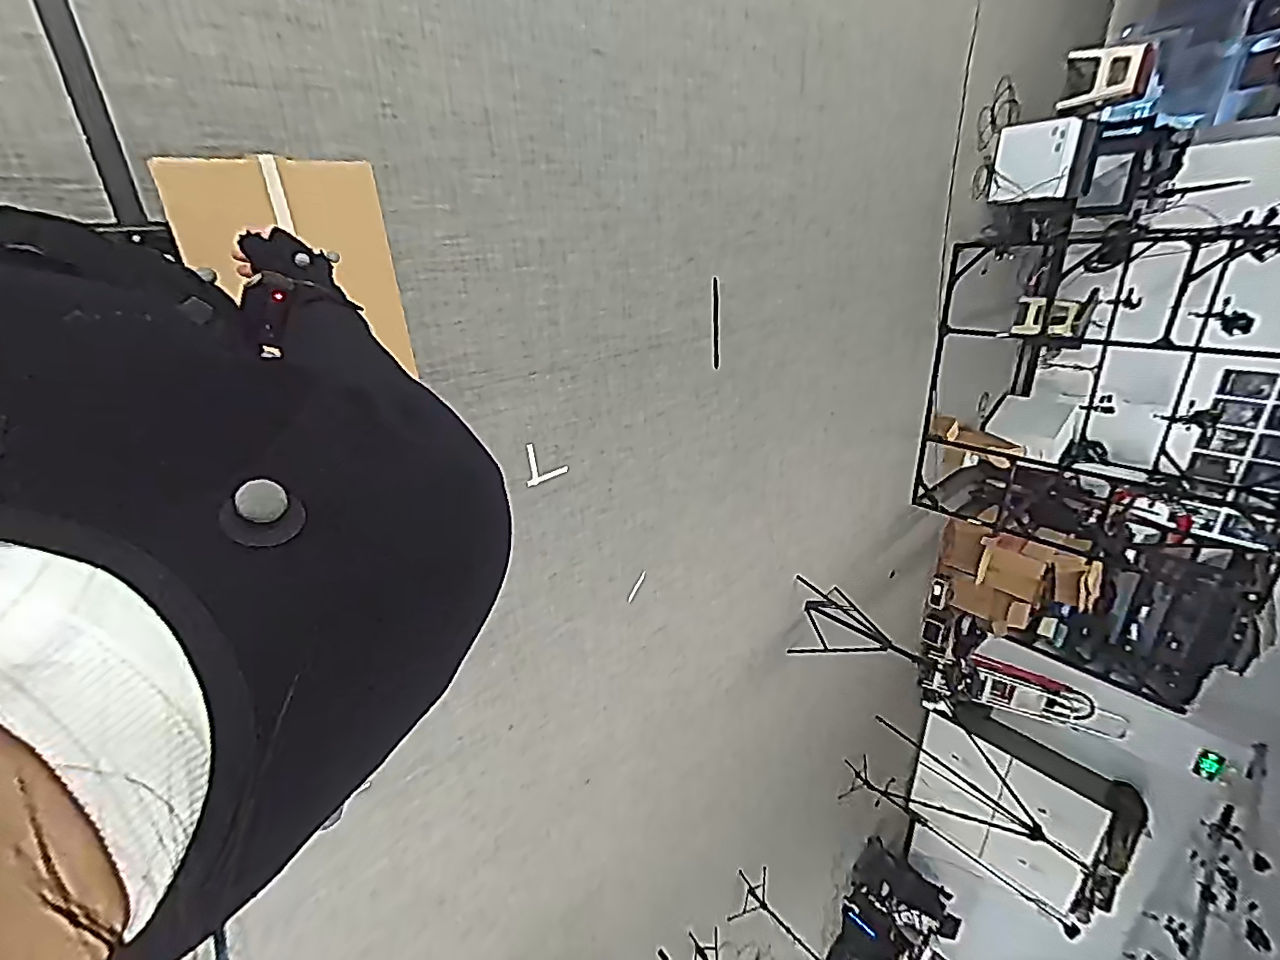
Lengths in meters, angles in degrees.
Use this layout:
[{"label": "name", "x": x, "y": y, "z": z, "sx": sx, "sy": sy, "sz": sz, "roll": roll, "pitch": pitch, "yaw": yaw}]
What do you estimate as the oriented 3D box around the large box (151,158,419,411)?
[{"label": "large box", "x": -0.677, "y": -0.392, "z": 1.071, "sx": 0.320, "sy": 0.320, "sz": 0.408, "roll": -18, "pitch": 119, "yaw": -29}]
